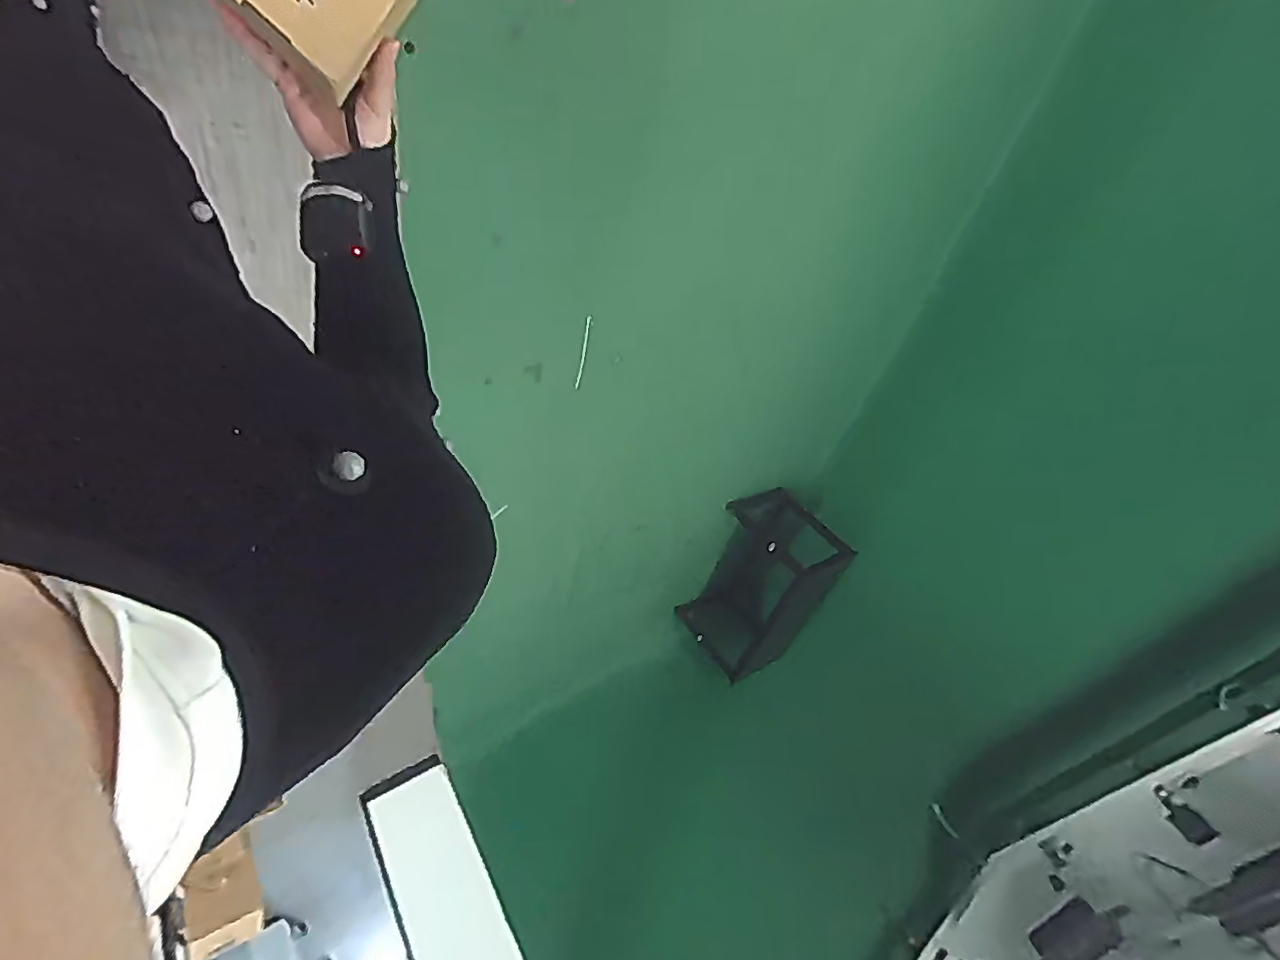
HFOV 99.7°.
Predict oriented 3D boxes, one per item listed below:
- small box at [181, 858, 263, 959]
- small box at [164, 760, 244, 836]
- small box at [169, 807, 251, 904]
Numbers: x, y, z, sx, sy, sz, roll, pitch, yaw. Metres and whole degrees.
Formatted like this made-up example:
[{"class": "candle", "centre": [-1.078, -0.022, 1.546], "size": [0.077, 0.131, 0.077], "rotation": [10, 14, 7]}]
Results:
[{"class": "small box", "centre": [-1.177, 1.219, 1.523], "size": [0.168, 0.176, 0.179], "rotation": [-6, 130, -42]}, {"class": "small box", "centre": [-1.368, 1.023, 1.701], "size": [0.168, 0.176, 0.179], "rotation": [-15, 136, -36]}, {"class": "small box", "centre": [-1.274, 1.118, 1.609], "size": [0.168, 0.176, 0.179], "rotation": [-15, 136, -35]}]
